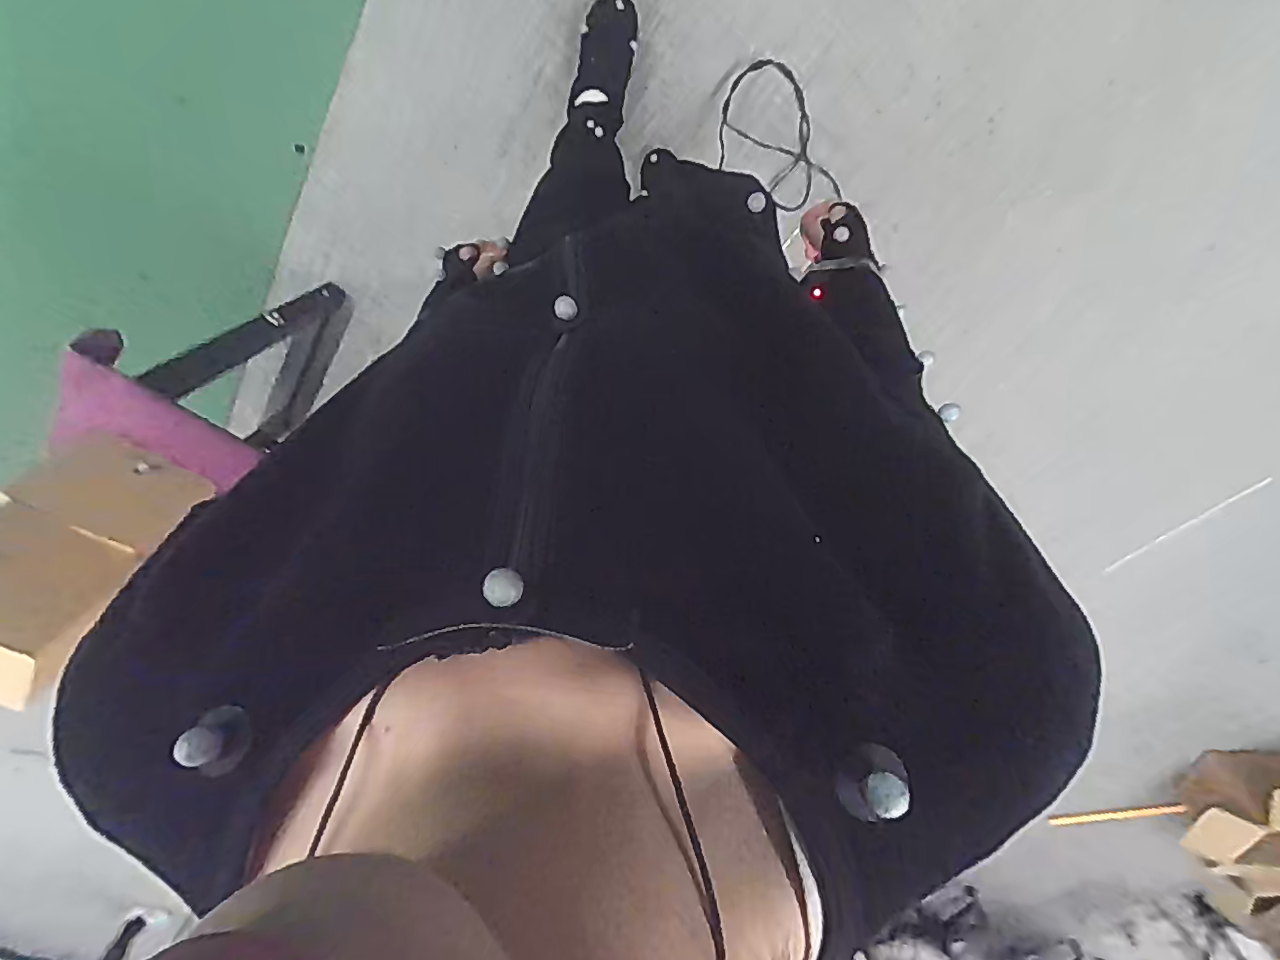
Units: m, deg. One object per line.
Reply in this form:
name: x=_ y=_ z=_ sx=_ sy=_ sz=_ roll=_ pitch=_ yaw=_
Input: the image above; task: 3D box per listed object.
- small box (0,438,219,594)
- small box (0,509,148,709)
small box: x=-0.820 y=0.059 z=0.848 sx=0.179 sy=0.176 sz=0.168 roll=31 pitch=122 yaw=-16
small box: x=-0.828 y=0.163 z=0.722 sx=0.179 sy=0.176 sz=0.168 roll=36 pitch=121 yaw=-19
